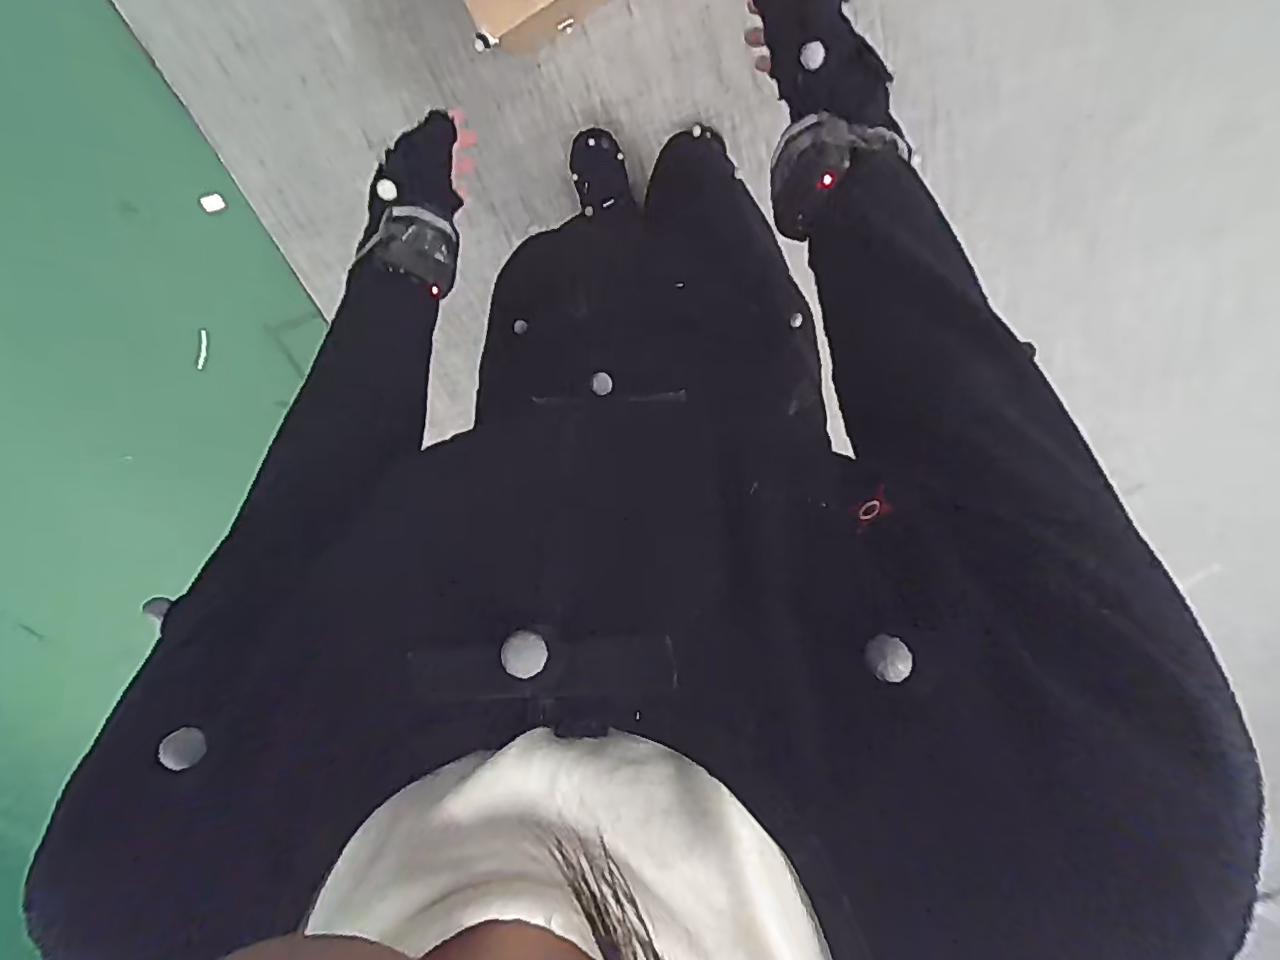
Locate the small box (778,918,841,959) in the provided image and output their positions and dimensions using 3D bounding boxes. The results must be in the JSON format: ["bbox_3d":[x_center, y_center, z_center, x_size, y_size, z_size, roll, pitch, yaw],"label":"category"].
[{"bbox_3d":[0.542,1.516,1.702,0.179,0.176,0.168,-16,125,9],"label":"small box"}]
